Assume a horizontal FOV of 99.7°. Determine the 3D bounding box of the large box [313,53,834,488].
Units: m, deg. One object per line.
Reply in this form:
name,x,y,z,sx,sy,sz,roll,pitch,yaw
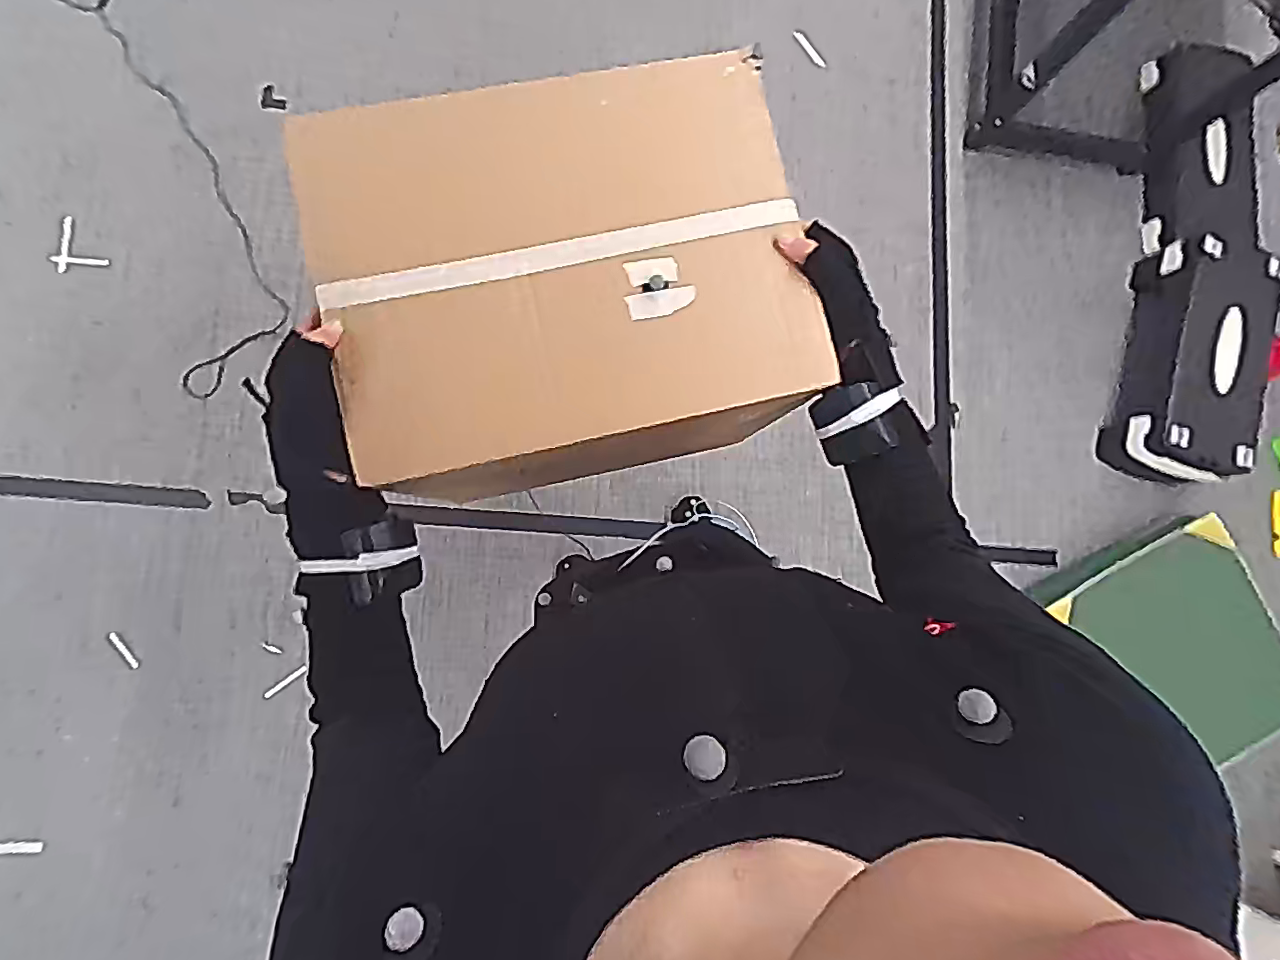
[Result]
large box,-0.066,-0.189,0.611,0.408,0.320,0.320,-12,88,-6
